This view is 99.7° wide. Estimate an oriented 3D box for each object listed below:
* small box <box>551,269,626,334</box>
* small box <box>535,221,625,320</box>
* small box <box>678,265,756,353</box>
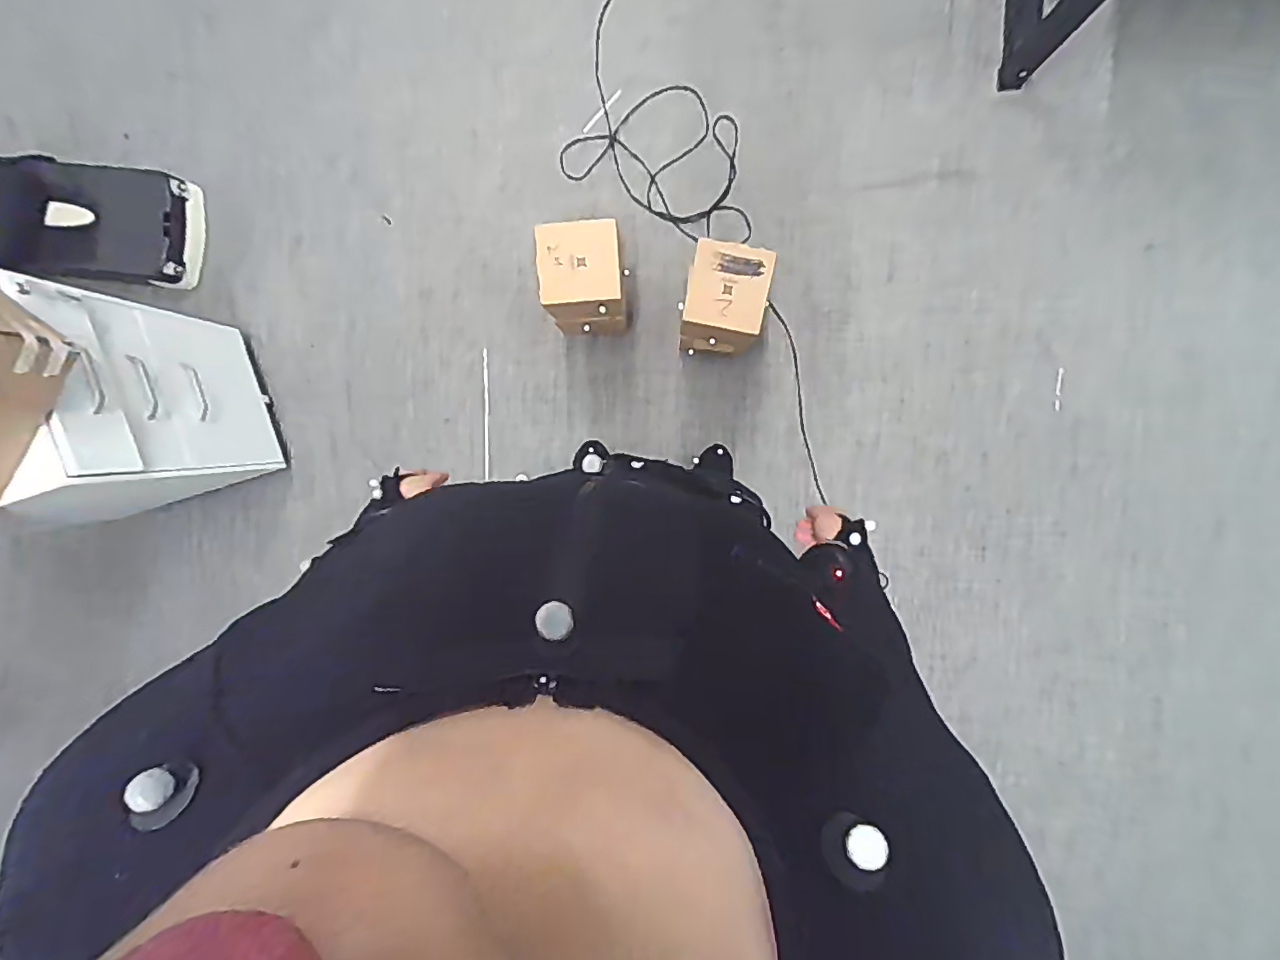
[{"bbox_3d":[-0.127,-0.472,1.378,0.179,0.176,0.168,-2,95,3],"label":"small box"},{"bbox_3d":[-0.127,-0.463,1.213,0.179,0.176,0.168,-3,95,4],"label":"small box"},{"bbox_3d":[0.188,-0.423,1.366,0.168,0.176,0.179,7,94,2],"label":"small box"}]
